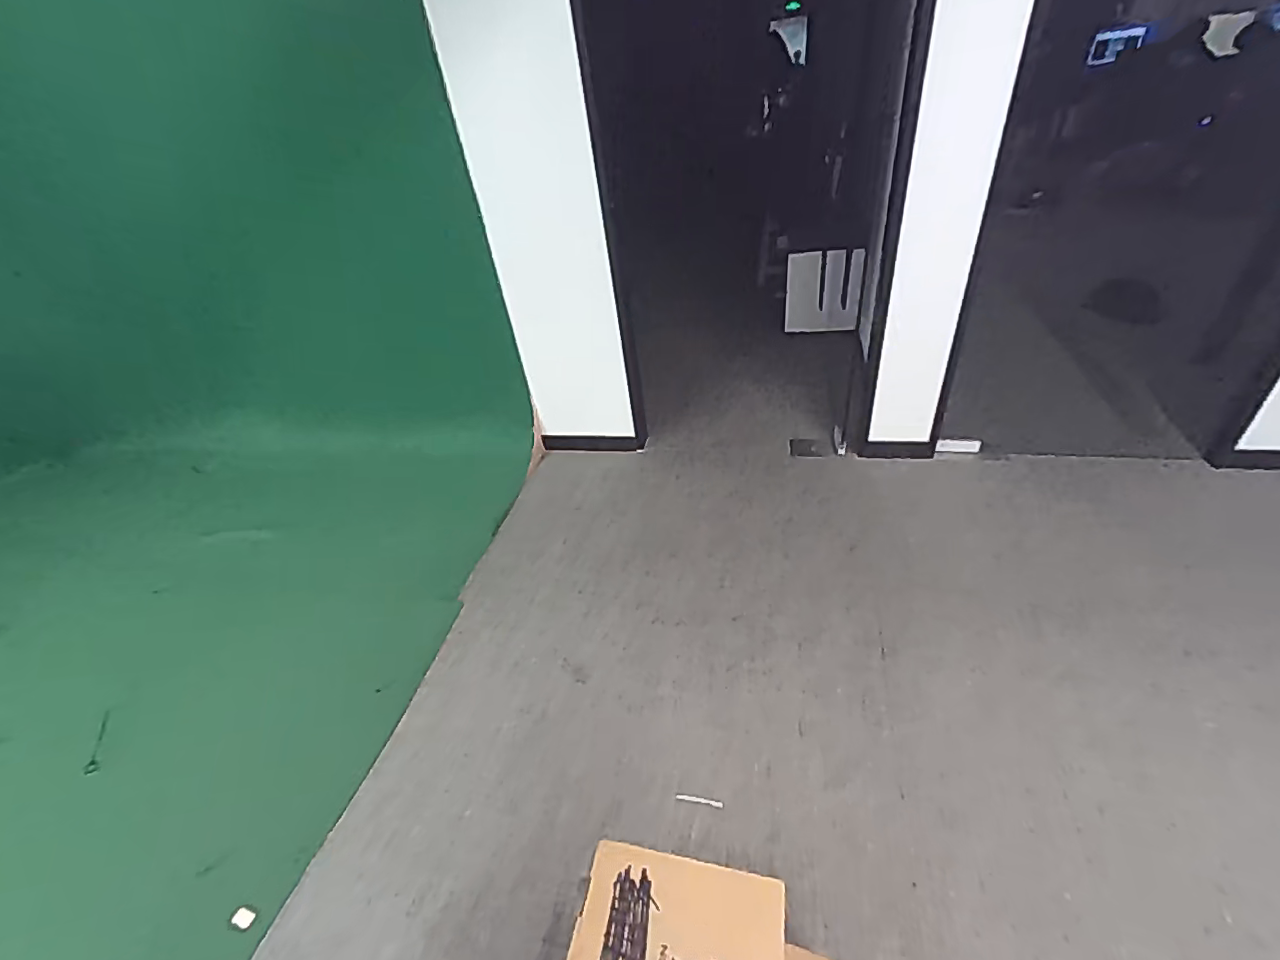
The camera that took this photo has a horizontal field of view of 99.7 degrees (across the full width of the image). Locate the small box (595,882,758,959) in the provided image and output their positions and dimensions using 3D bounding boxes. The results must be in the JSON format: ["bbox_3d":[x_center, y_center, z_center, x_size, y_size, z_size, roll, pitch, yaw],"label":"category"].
[{"bbox_3d":[0.032,0.588,0.587,0.168,0.176,0.179,7,38,15],"label":"small box"}]

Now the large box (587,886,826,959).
[{"bbox_3d":[0.102,0.909,0.825,0.408,0.320,0.320,7,40,18],"label":"large box"}]
